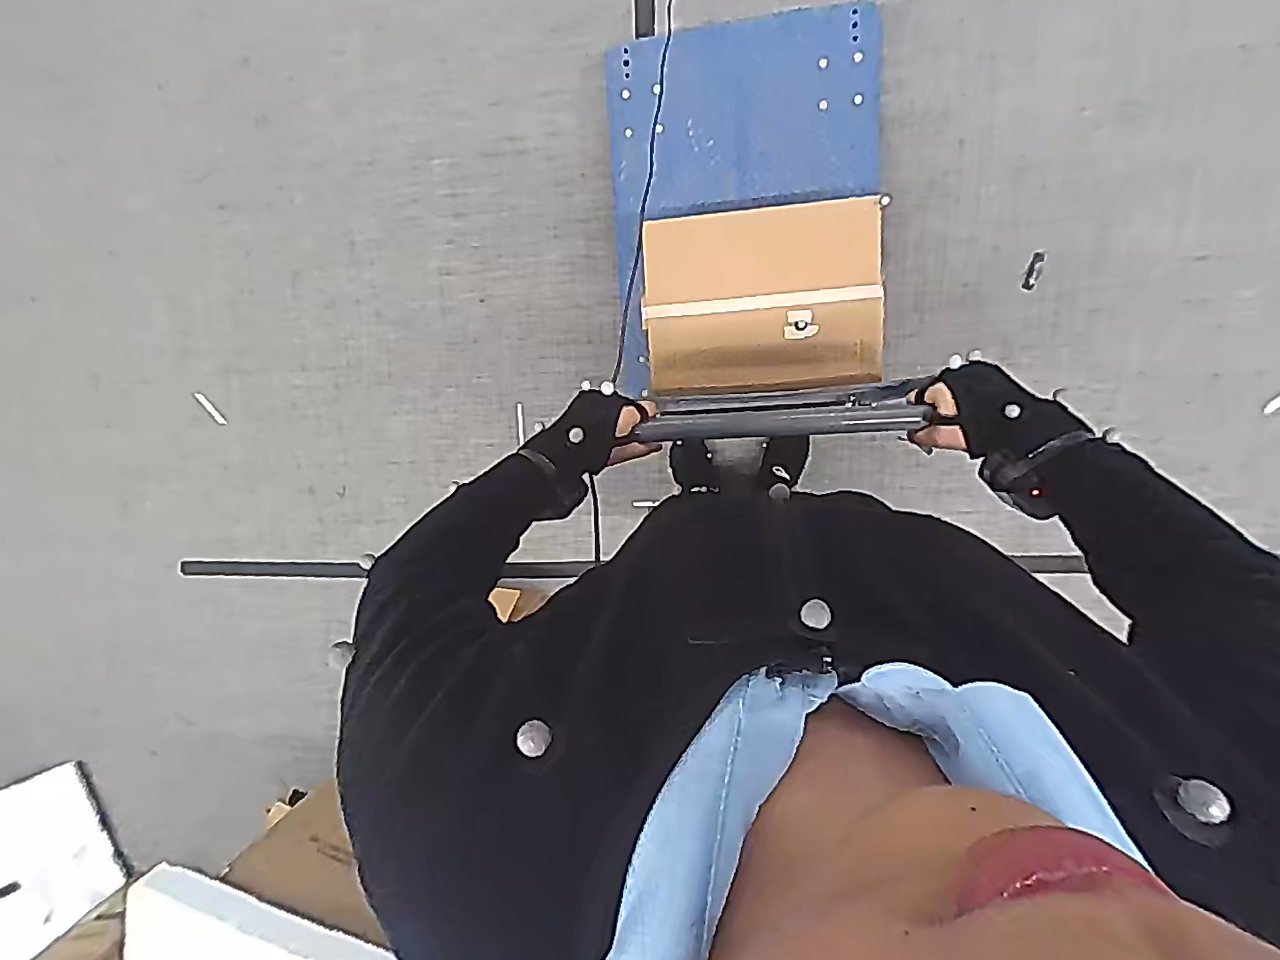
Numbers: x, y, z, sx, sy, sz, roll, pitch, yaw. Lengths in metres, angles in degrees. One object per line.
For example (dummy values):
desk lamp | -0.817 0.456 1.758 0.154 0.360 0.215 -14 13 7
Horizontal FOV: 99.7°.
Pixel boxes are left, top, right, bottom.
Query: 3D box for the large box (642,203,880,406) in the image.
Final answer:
large box | 0.229 -0.321 1.094 0.408 0.320 0.320 -3 98 8
